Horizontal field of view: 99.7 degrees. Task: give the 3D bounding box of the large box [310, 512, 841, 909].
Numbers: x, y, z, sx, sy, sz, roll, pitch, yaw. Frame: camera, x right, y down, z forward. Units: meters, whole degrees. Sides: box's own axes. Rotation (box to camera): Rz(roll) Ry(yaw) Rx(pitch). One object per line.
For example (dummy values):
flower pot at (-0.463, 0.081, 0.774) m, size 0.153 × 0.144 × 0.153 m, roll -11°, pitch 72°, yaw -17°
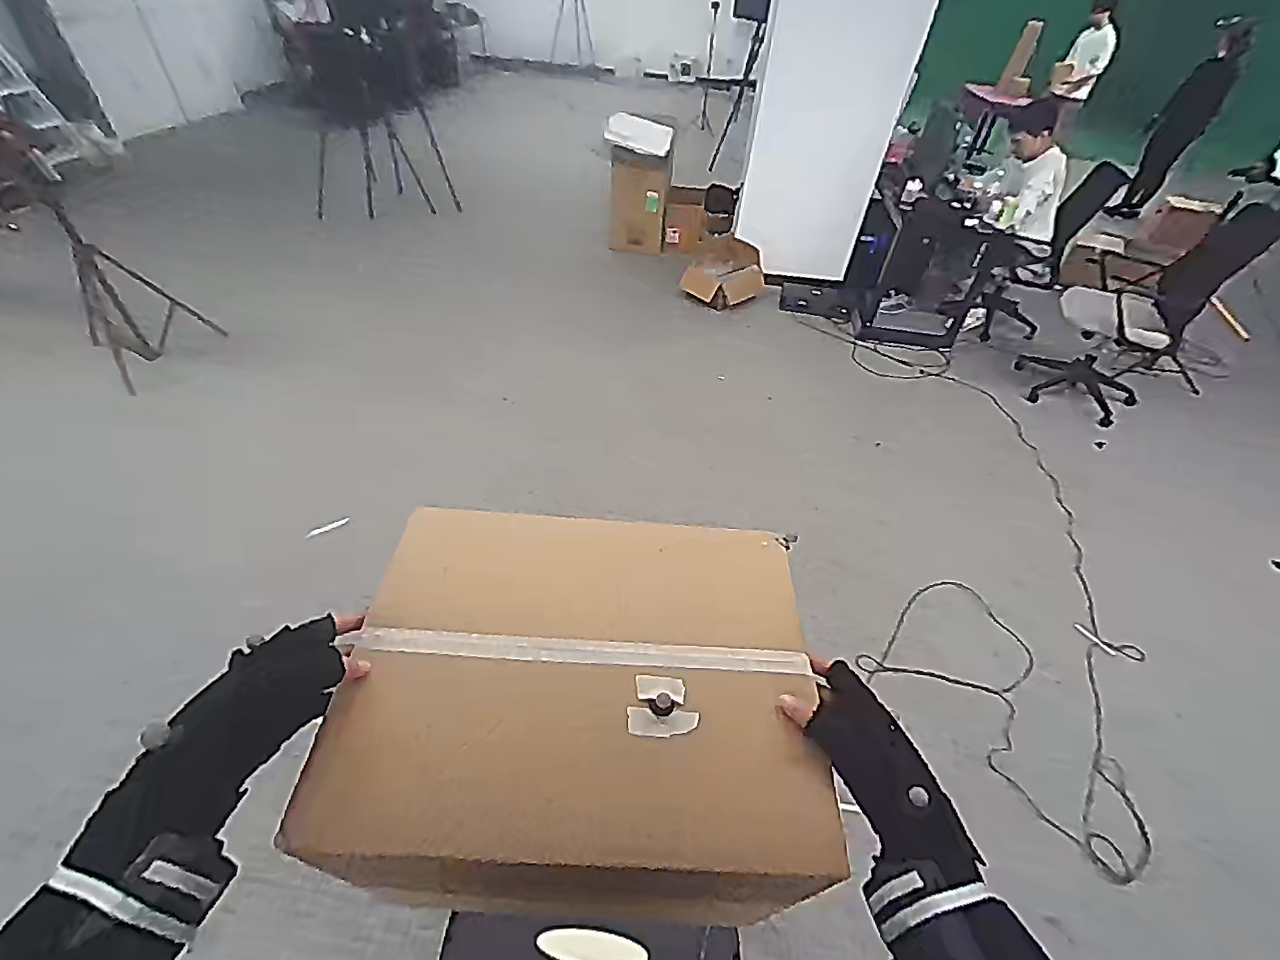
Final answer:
large box at (-0.053, 0.262, 0.607) m, size 0.408 × 0.320 × 0.320 m, roll 5°, pitch 46°, yaw -2°
